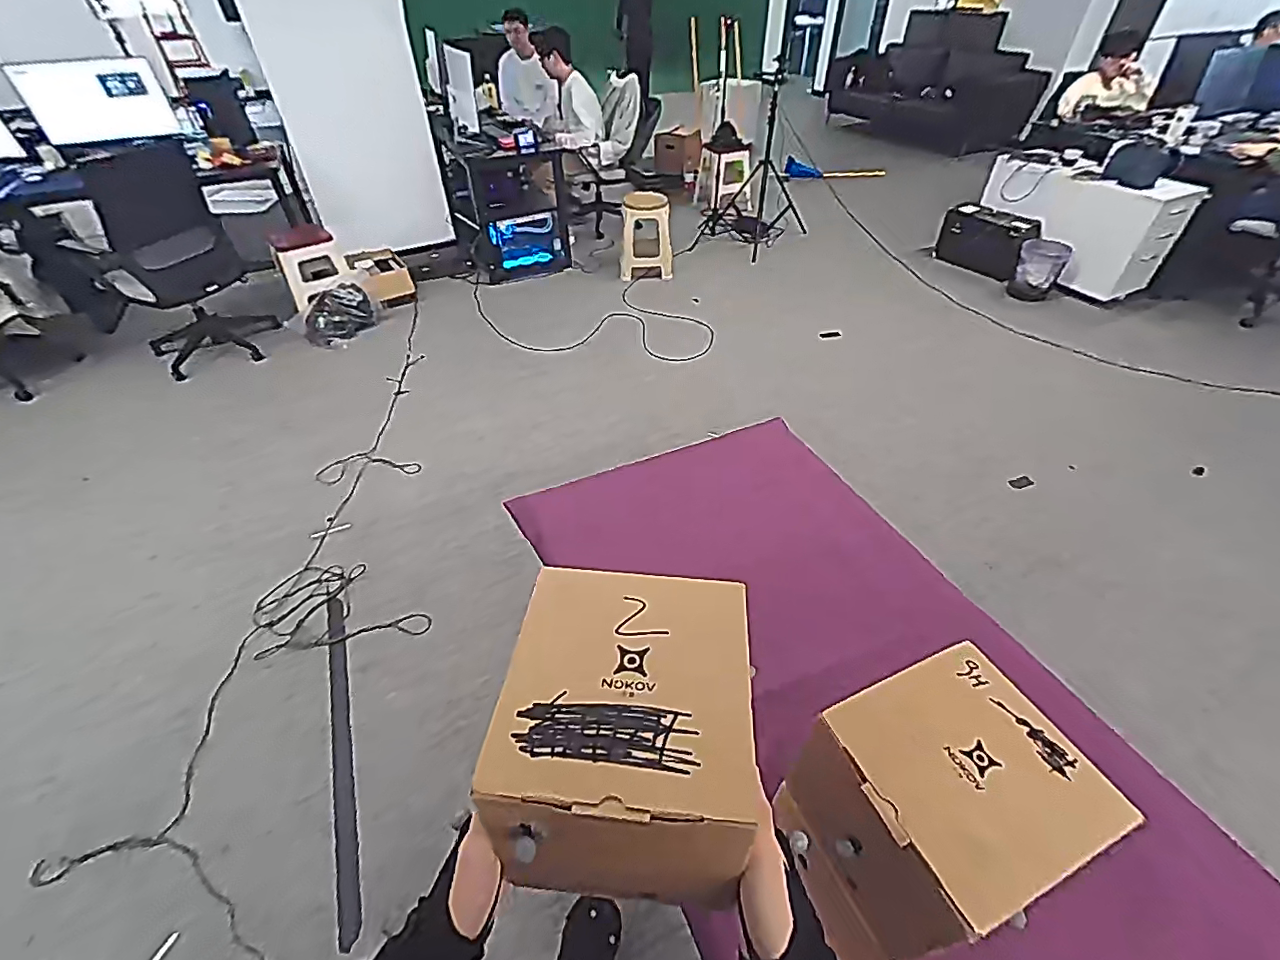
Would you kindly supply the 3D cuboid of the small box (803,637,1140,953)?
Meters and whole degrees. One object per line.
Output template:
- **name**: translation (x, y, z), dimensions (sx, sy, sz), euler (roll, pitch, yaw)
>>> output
- **small box**: translation (0.267, 0.281, 0.487), dimensions (0.179, 0.176, 0.168), euler (-18, 46, -17)

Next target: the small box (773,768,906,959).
- **small box**: translation (0.264, 0.401, 0.598), dimensions (0.179, 0.176, 0.168), euler (-18, 46, -18)
